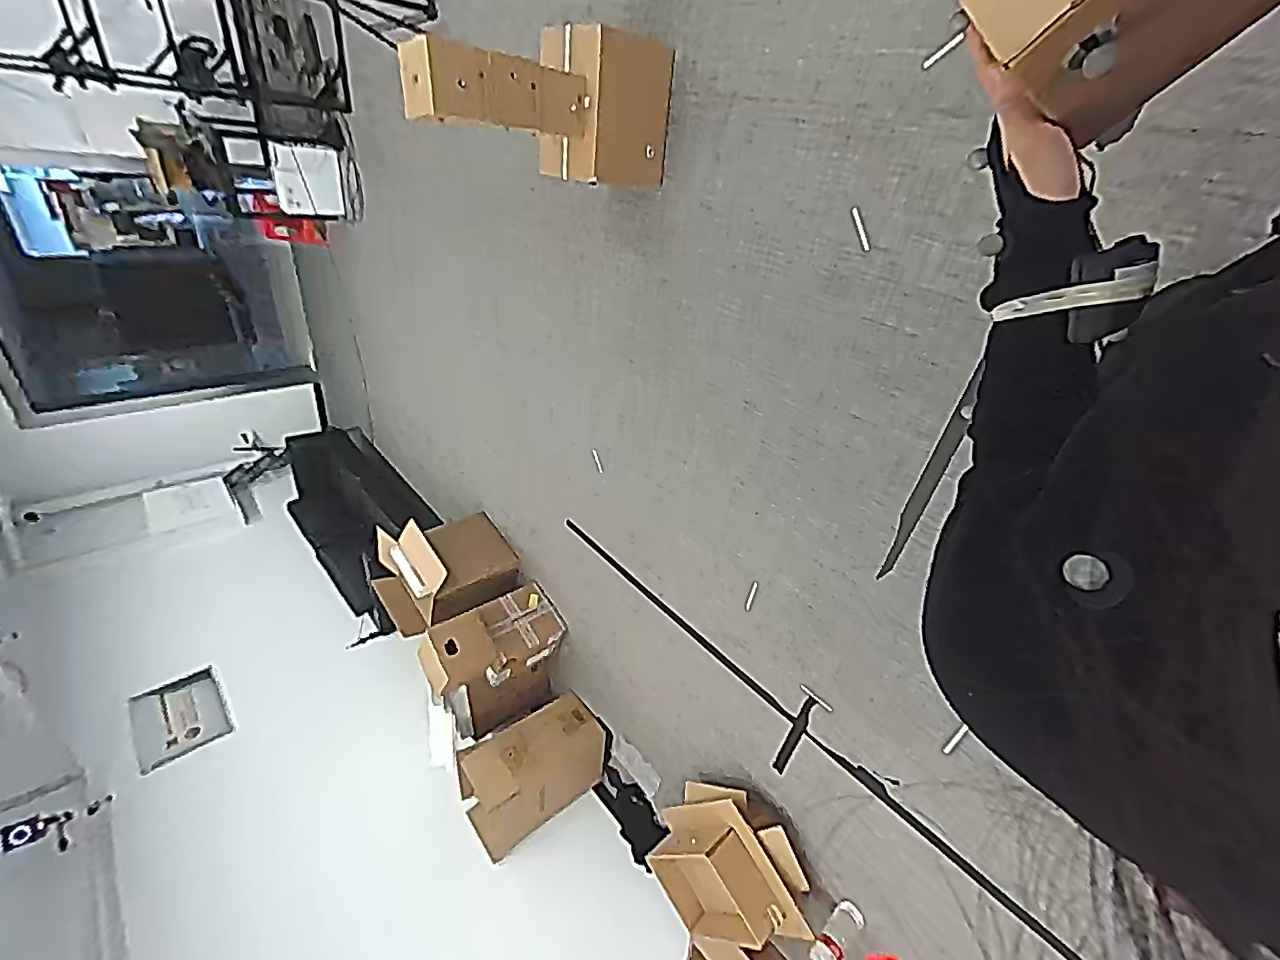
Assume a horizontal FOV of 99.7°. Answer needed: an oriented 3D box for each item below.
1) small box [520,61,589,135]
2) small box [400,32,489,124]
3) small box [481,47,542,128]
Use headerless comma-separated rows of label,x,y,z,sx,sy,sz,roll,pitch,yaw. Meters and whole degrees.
small box,-0.279,-1.164,1.656,0.179,0.176,0.168,32,130,36
small box,-0.517,-1.071,1.452,0.179,0.176,0.168,27,125,40
small box,-0.393,-1.120,1.550,0.179,0.176,0.168,32,128,38
